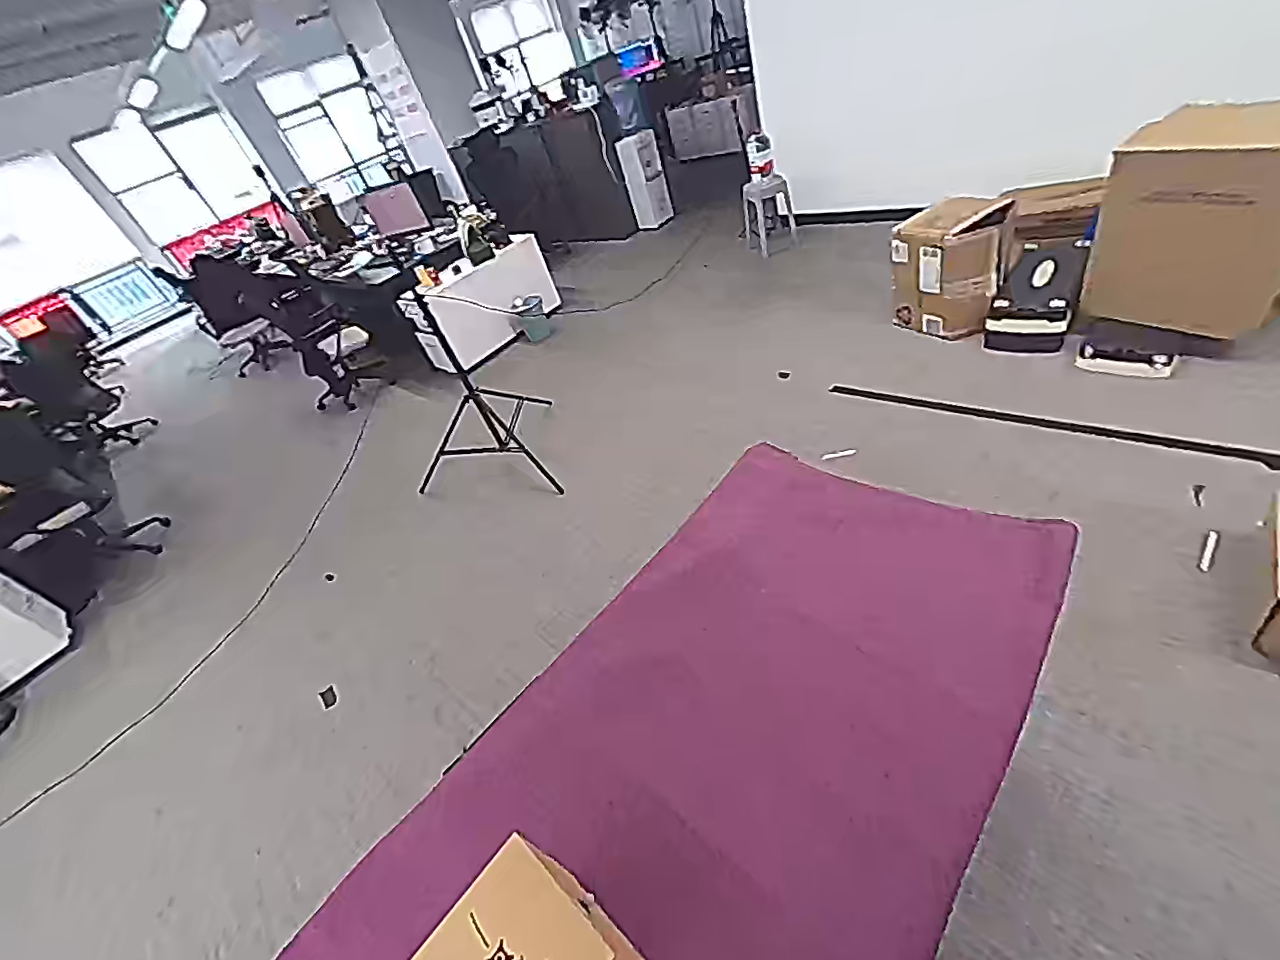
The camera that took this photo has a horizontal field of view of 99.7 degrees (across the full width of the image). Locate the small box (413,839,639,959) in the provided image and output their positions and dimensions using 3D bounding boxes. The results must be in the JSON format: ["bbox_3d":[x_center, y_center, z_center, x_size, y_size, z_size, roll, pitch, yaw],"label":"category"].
[{"bbox_3d":[-0.111,0.538,0.576,0.179,0.176,0.168,20,53,41],"label":"small box"}]
